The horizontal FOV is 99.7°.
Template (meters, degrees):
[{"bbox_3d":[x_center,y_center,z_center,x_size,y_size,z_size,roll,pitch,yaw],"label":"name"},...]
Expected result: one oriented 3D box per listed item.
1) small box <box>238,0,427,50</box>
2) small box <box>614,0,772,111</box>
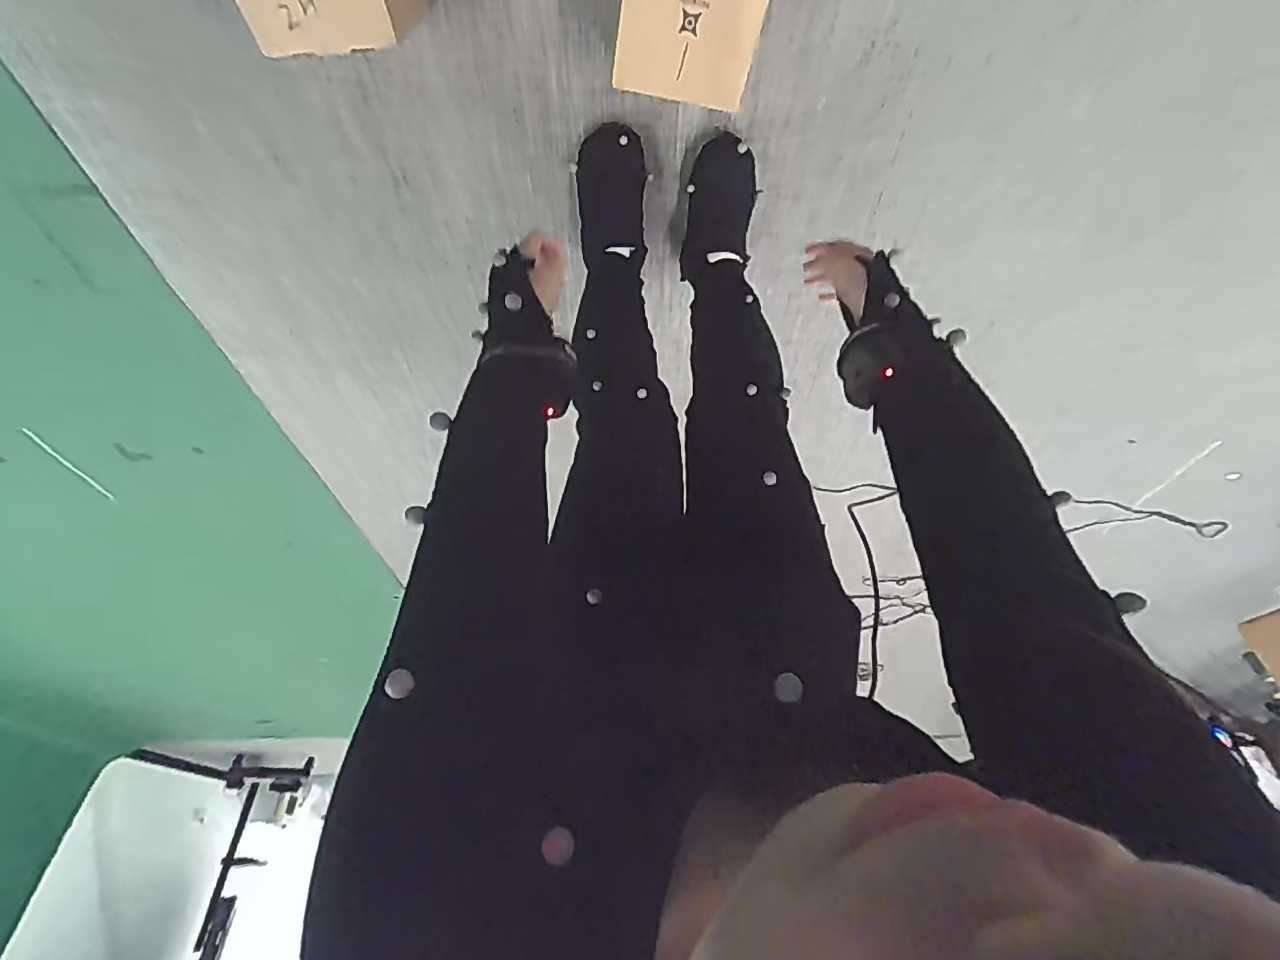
[{"bbox_3d":[-0.363,-0.620,0.609,0.168,0.176,0.179,-2,142,2],"label":"small box"},{"bbox_3d":[0.061,-0.592,0.655,0.168,0.176,0.179,6,142,-9],"label":"small box"}]
